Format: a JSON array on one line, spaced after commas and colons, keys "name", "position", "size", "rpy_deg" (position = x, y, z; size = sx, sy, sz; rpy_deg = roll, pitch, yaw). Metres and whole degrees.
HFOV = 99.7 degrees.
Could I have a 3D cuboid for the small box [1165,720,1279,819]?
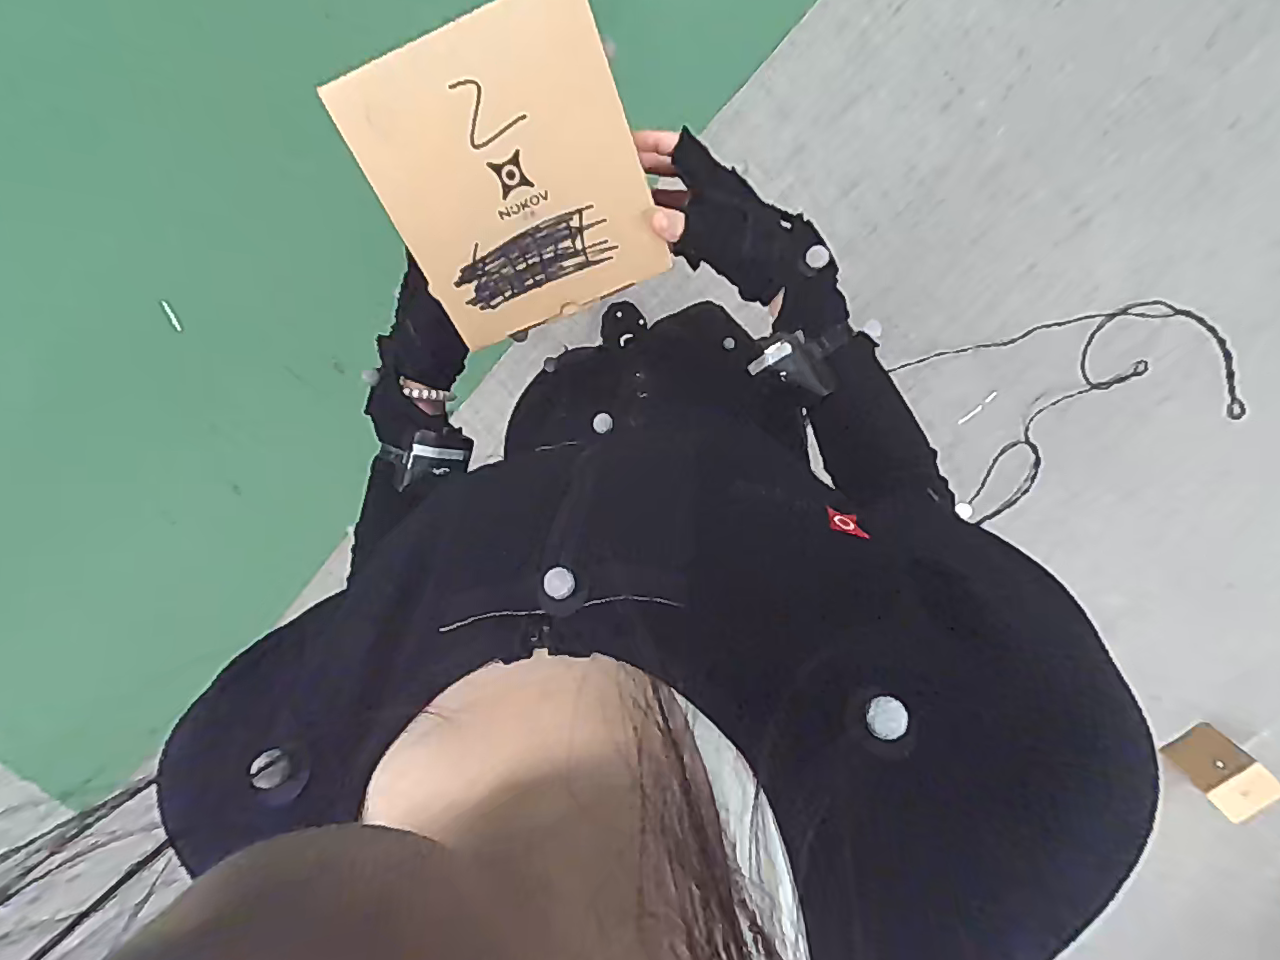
[{"name": "small box", "position": [1.802, 0.894, 1.678], "size": [0.168, 0.176, 0.179], "rpy_deg": [41, 103, -11]}]
